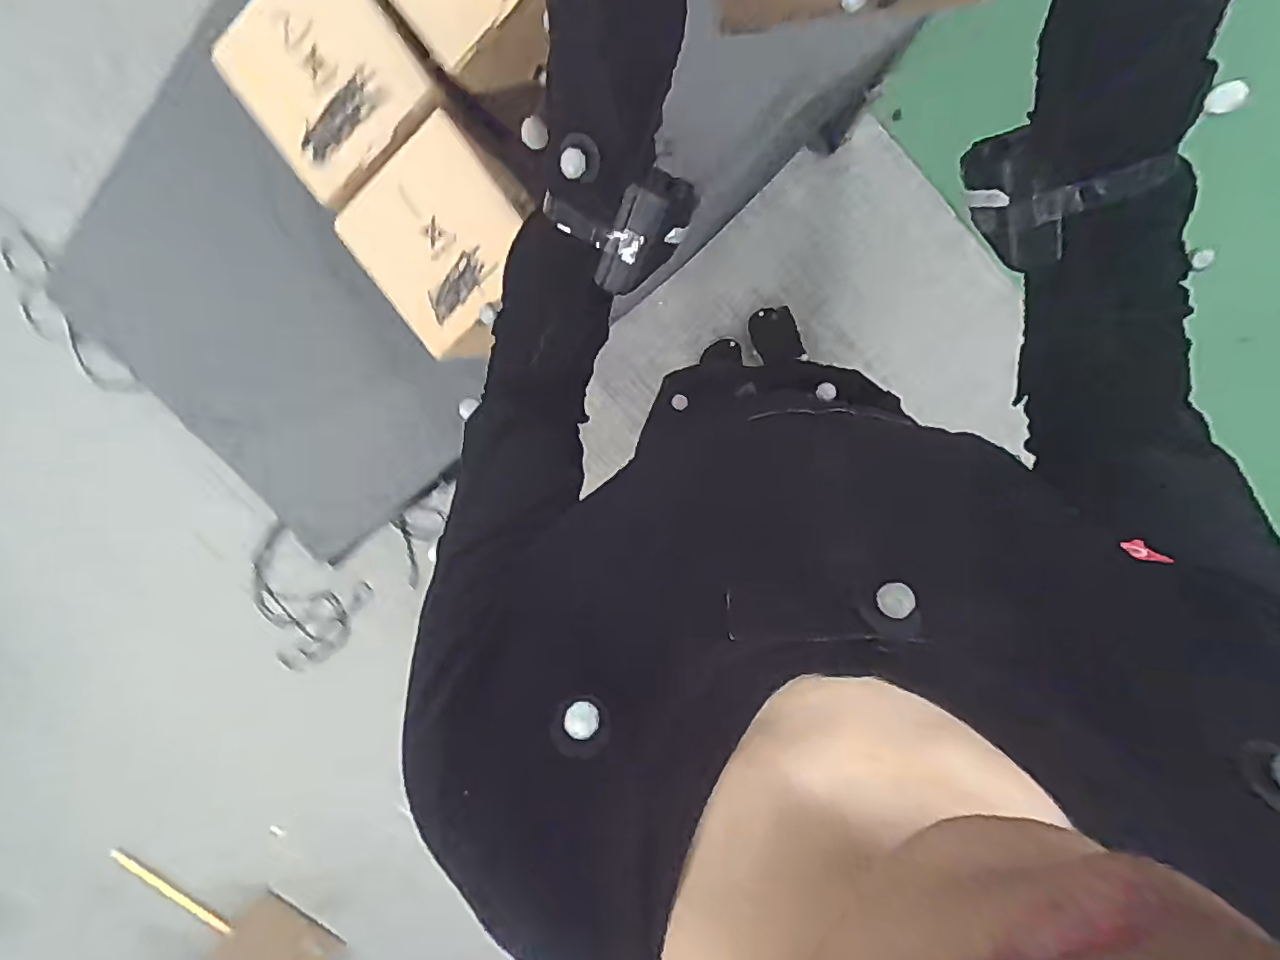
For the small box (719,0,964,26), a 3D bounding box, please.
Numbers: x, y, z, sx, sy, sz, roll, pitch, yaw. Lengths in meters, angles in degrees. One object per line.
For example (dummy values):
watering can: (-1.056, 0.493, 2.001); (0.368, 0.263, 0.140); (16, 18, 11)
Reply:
small box: (0.114, -0.357, 0.247); (0.168, 0.176, 0.179); (4, 108, 11)
